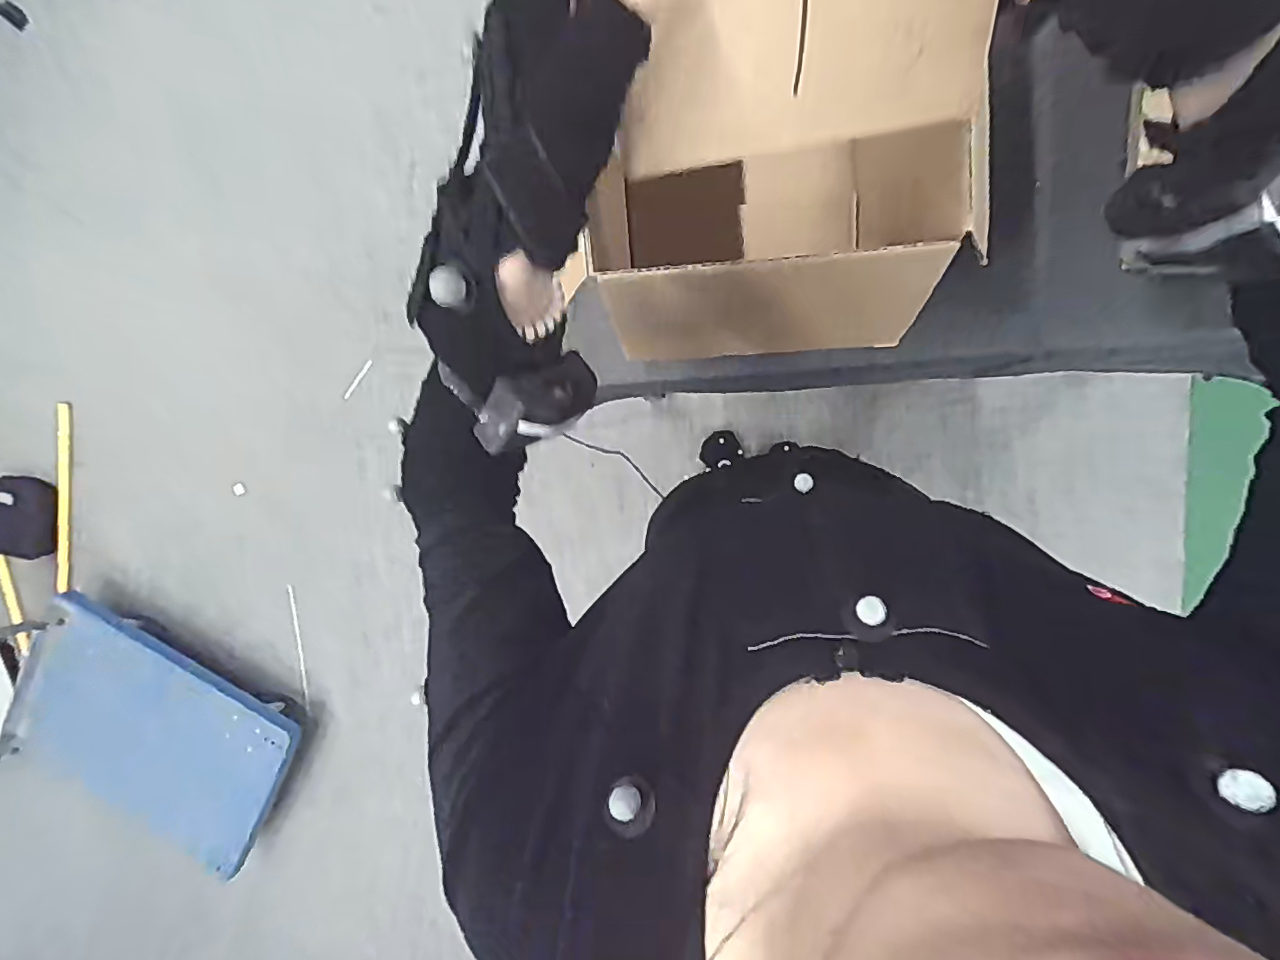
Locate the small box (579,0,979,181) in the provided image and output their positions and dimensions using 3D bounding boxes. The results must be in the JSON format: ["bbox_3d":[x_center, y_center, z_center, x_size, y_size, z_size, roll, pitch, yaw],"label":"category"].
[{"bbox_3d":[0.051,-0.270,0.273,0.168,0.176,0.179,-9,128,-1],"label":"small box"}]
